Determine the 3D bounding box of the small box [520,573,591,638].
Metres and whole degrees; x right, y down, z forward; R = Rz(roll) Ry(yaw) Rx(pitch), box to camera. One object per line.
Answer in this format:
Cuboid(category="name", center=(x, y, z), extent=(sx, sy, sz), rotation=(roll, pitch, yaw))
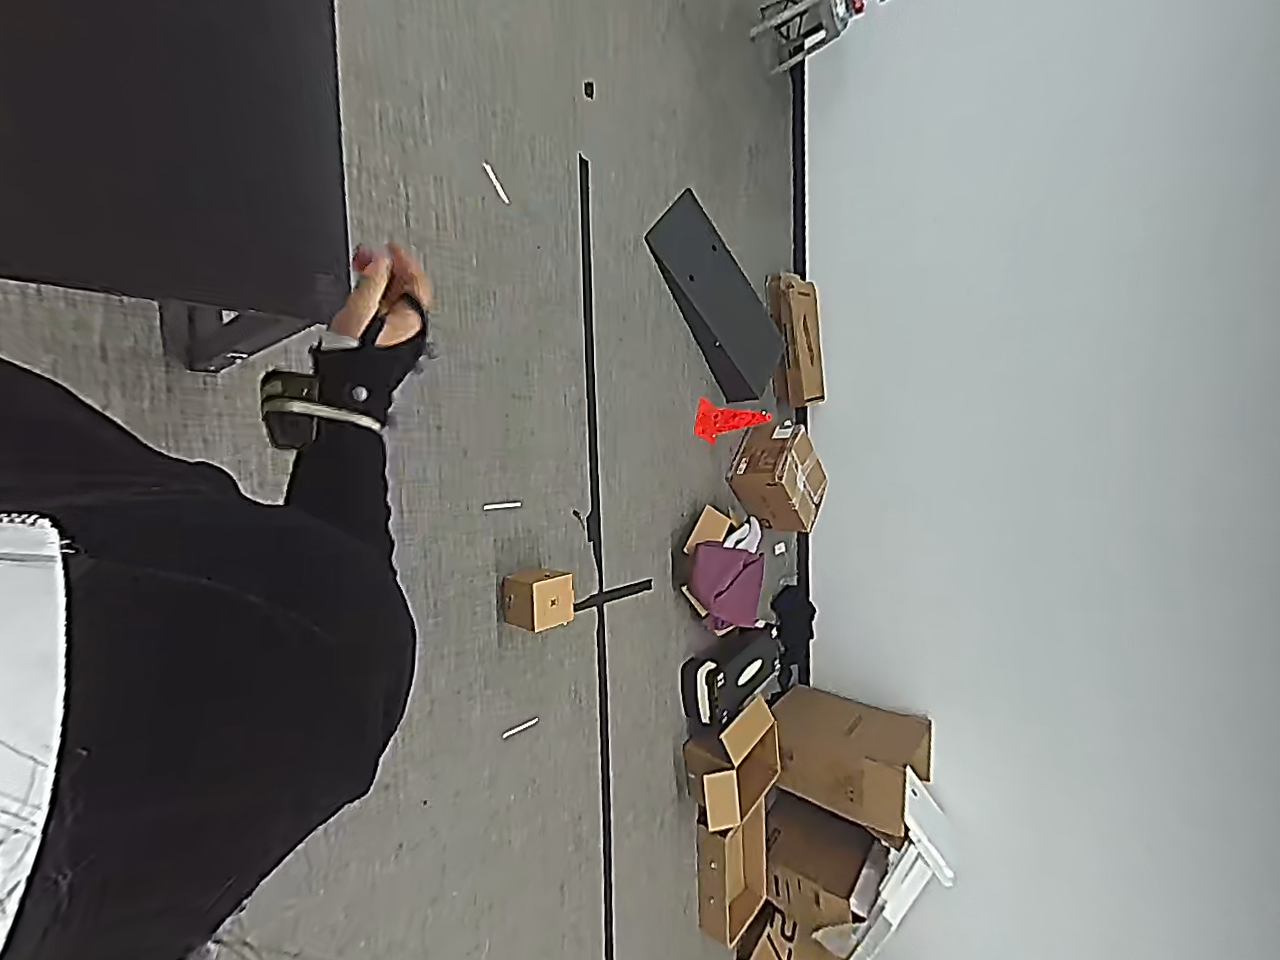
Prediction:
Cuboid(category="small box", center=(-0.289, 0.423, 1.851), extent=(0.179, 0.176, 0.168), rotation=(-7, 96, -49))
